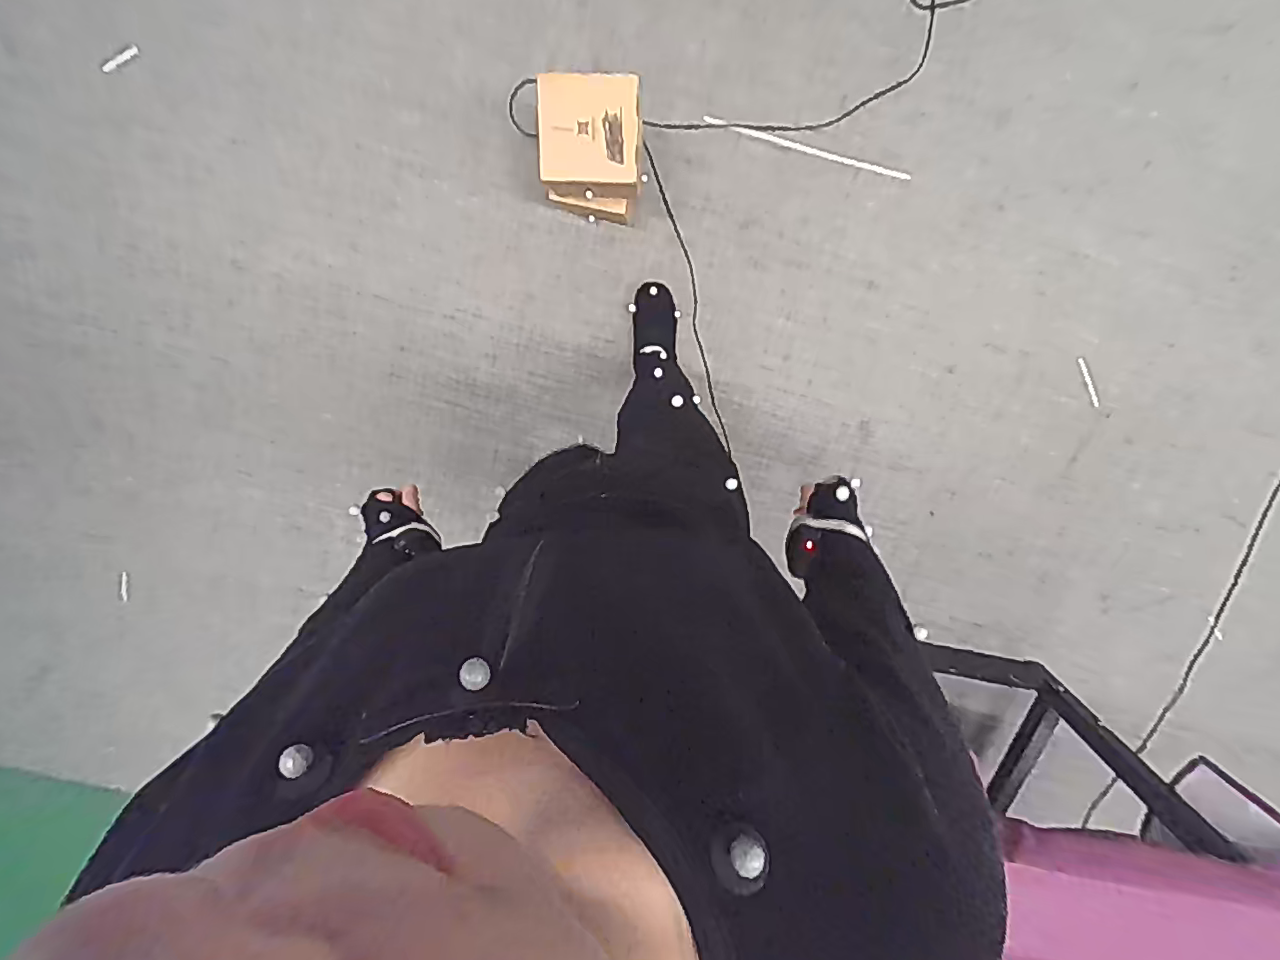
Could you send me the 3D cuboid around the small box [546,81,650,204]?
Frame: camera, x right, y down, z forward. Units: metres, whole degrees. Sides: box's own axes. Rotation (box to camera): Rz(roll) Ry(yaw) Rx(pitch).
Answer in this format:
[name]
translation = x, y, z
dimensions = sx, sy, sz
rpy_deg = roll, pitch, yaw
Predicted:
[small box]
translation = -0.074, -0.633, 1.030
dimensions = 0.179, 0.176, 0.168
rpy_deg = 3, 108, 4
